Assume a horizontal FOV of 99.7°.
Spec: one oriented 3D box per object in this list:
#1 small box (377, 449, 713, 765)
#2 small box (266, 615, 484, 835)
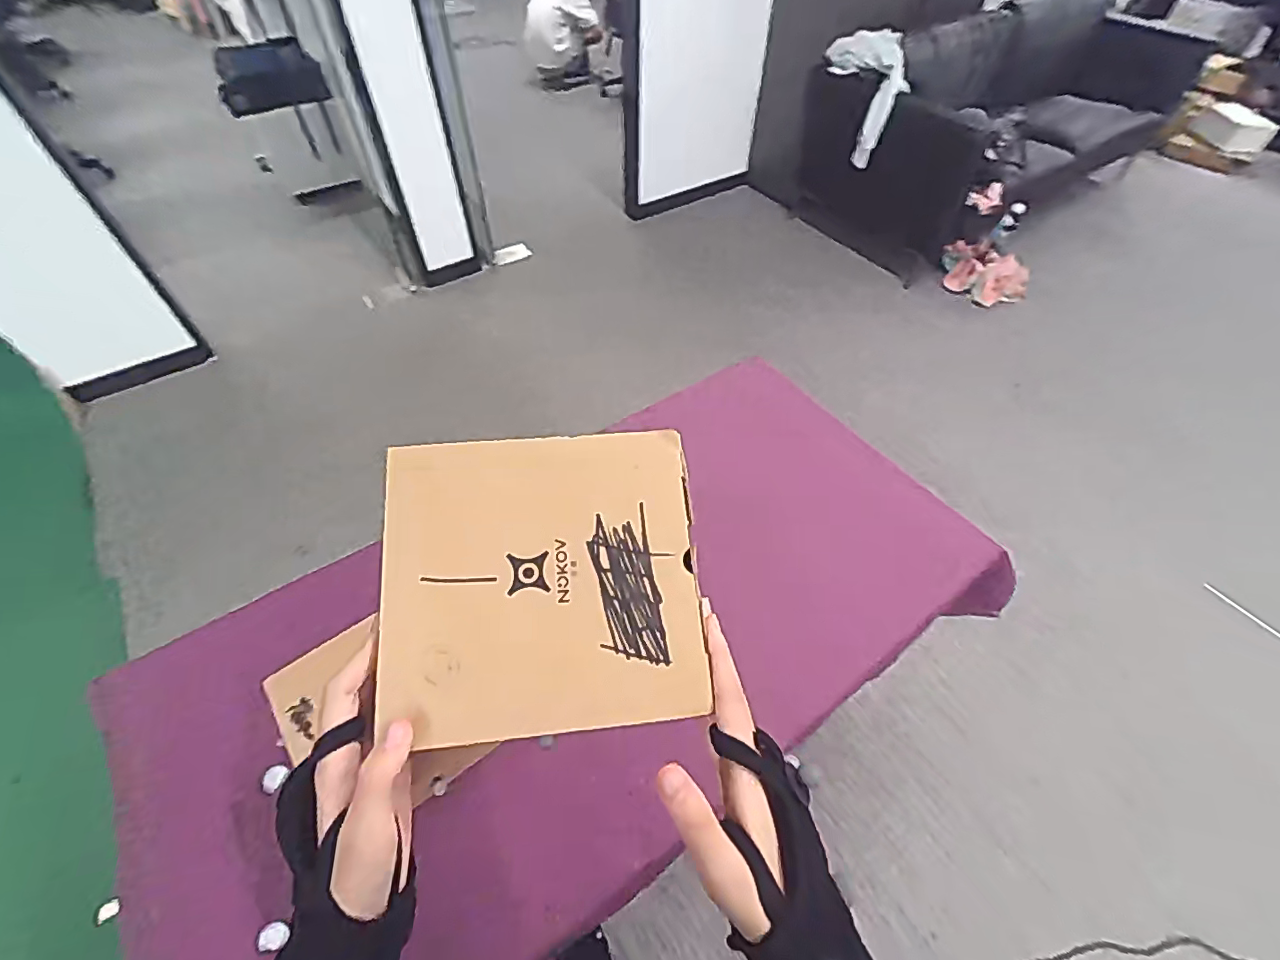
[{"bbox_3d":[-0.060,0.086,0.379,0.179,0.176,0.168,-4,72,-6],"label":"small box"},{"bbox_3d":[-0.294,0.284,0.646,0.179,0.176,0.168,-31,59,-23],"label":"small box"}]
